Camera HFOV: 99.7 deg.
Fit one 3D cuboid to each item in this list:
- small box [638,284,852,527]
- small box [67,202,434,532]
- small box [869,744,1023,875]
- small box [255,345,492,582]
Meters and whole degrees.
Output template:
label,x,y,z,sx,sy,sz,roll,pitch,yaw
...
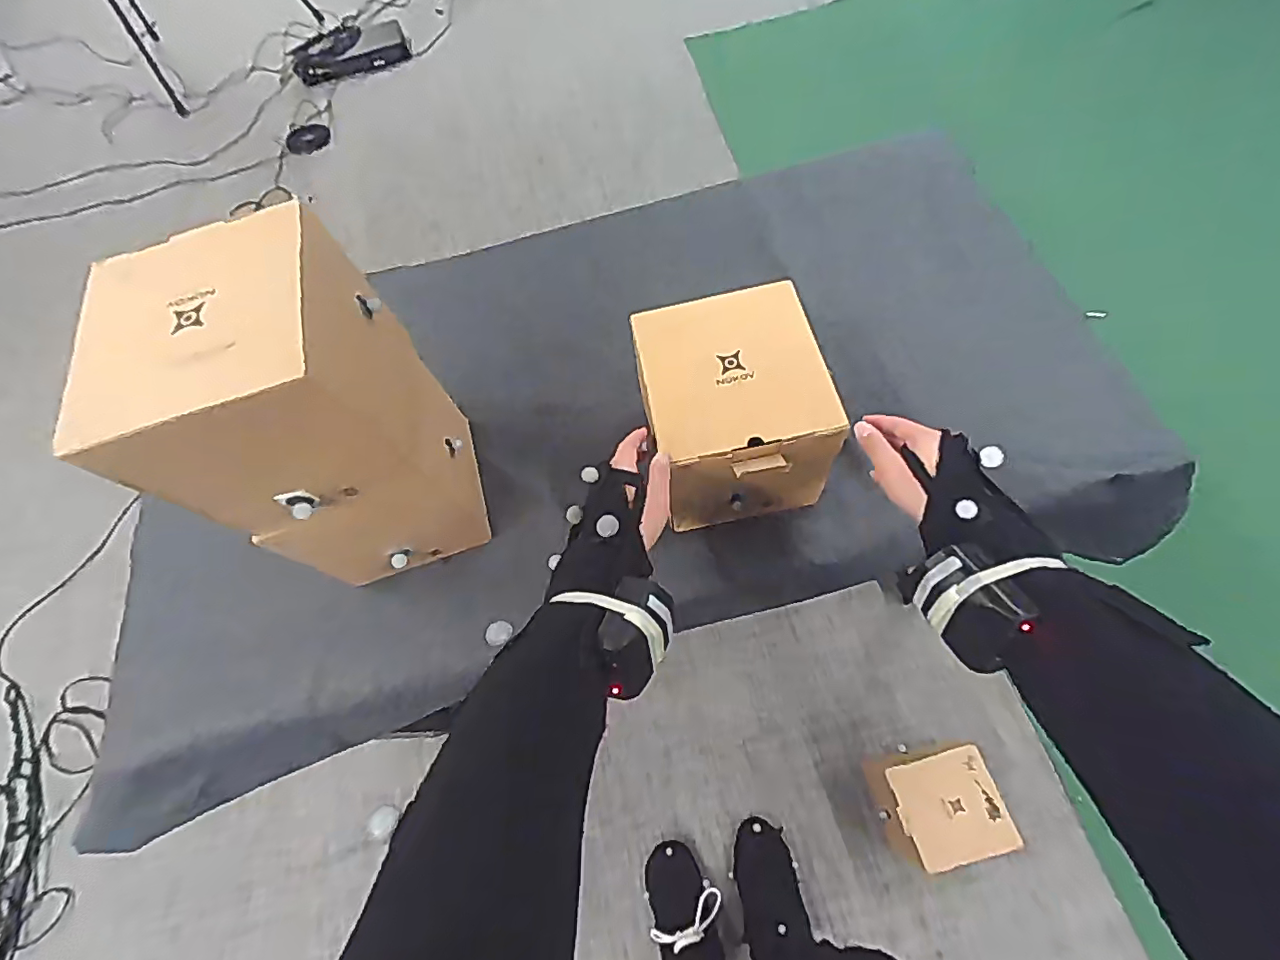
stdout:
label,x,y,z,sx,sy,sz,roll,pitch,yaw
small box,0.096,-0.071,0.574,0.168,0.176,0.179,-12,64,0
small box,-0.292,-0.081,0.445,0.168,0.176,0.179,-19,65,-1
small box,0.551,0.605,1.010,0.179,0.176,0.168,-16,63,-1
small box,-0.279,-0.010,0.590,0.168,0.176,0.179,-19,65,-2
